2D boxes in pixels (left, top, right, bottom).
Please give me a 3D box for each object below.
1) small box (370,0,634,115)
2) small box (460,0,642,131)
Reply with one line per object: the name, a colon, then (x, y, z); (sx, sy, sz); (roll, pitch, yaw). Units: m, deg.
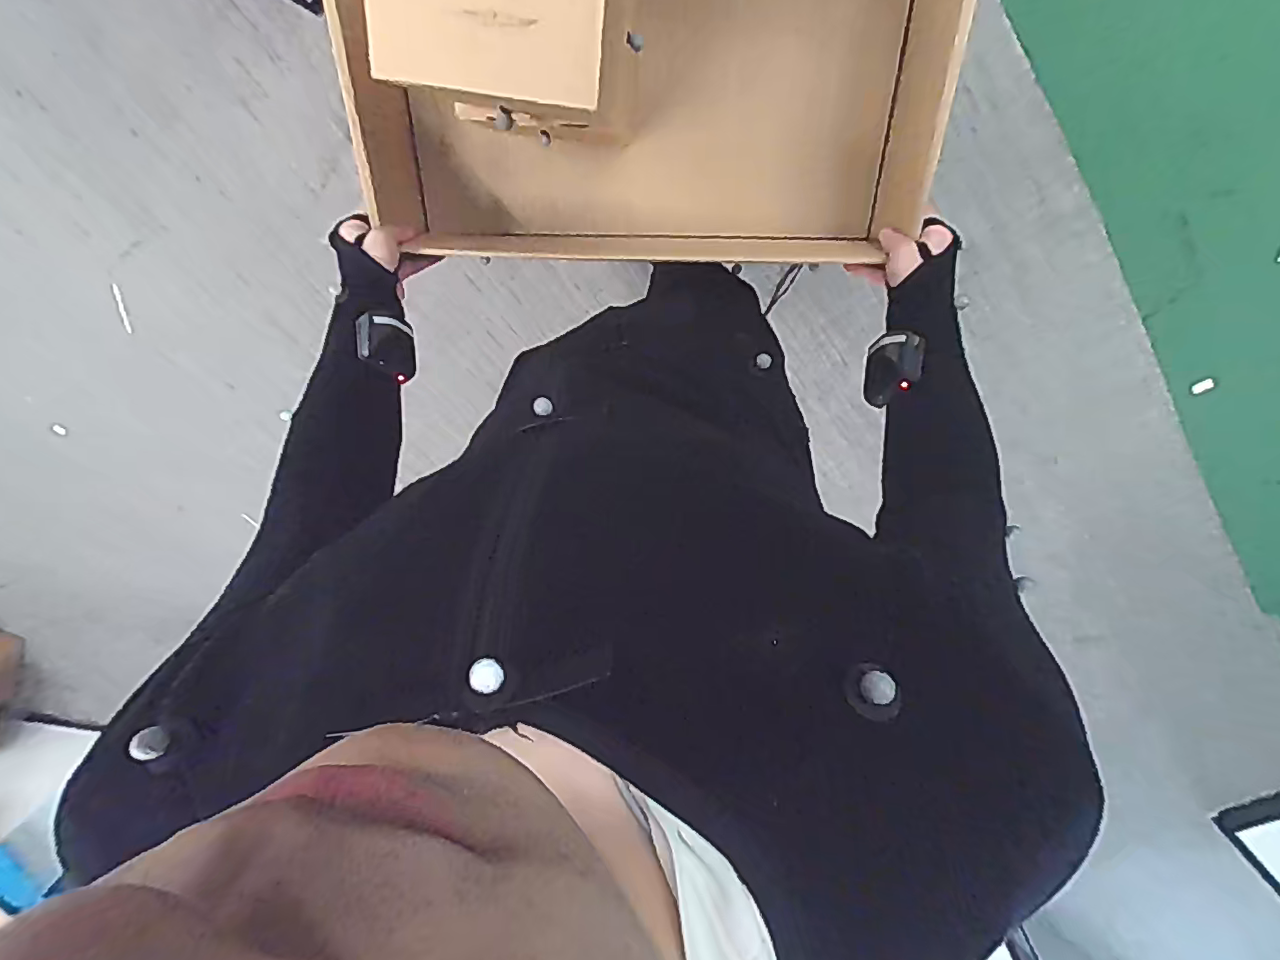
small box: (-0.090, -0.402, 0.411); (0.168, 0.176, 0.179); (9, 120, -2)
small box: (-0.085, -0.476, 0.557); (0.168, 0.176, 0.179); (5, 120, -1)
